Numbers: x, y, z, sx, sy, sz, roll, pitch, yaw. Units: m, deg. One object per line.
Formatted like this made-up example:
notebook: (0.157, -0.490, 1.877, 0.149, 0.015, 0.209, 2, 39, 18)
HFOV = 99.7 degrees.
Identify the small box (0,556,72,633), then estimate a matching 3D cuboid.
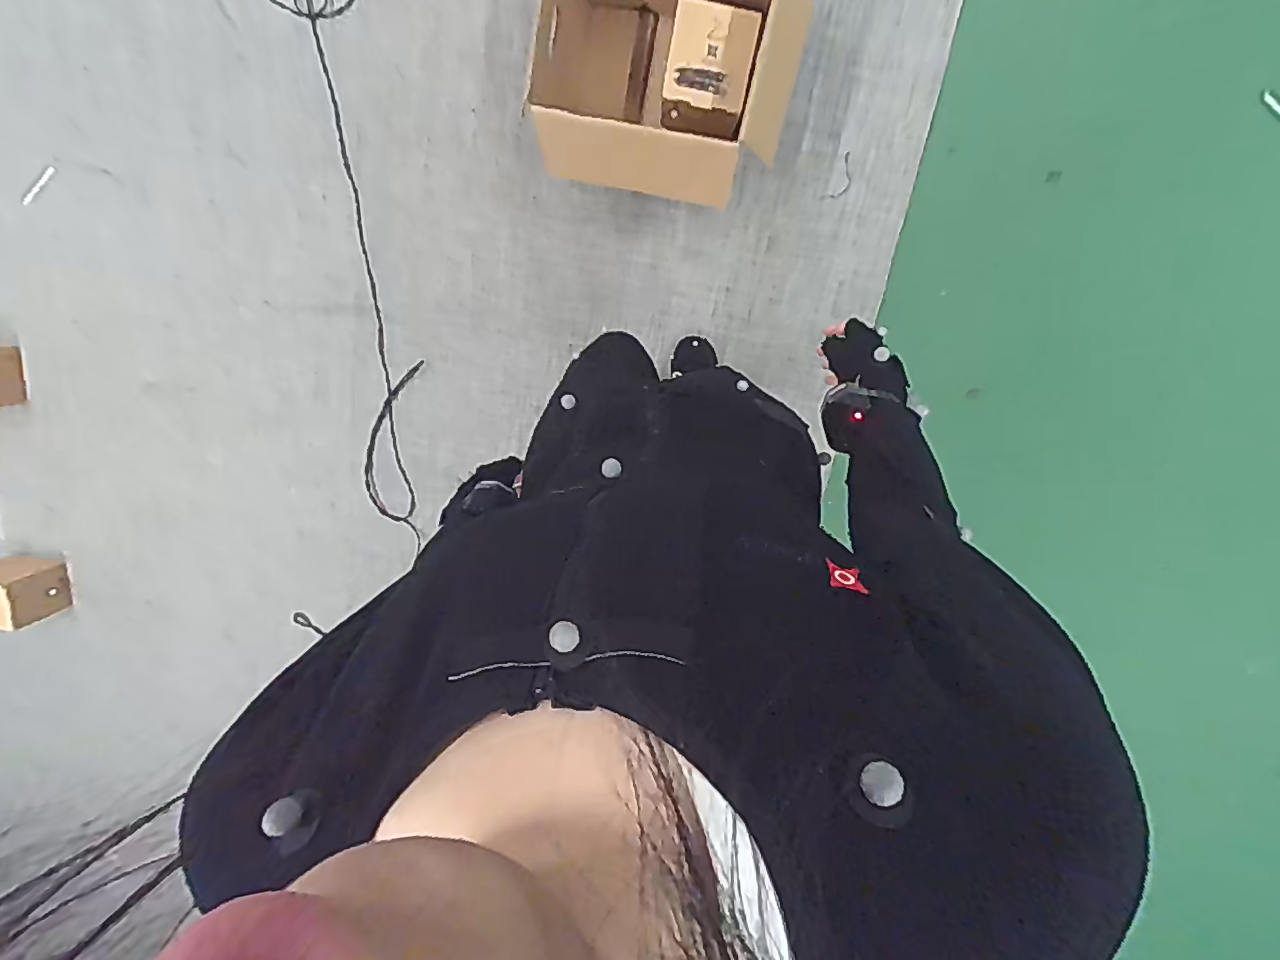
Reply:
small box: (-1.975, 0.356, 1.708, 0.179, 0.176, 0.168, 10, 108, 3)

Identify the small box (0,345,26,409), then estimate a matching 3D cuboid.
small box: (-1.891, -0.294, 1.504, 0.168, 0.176, 0.179, 9, 108, 2)
